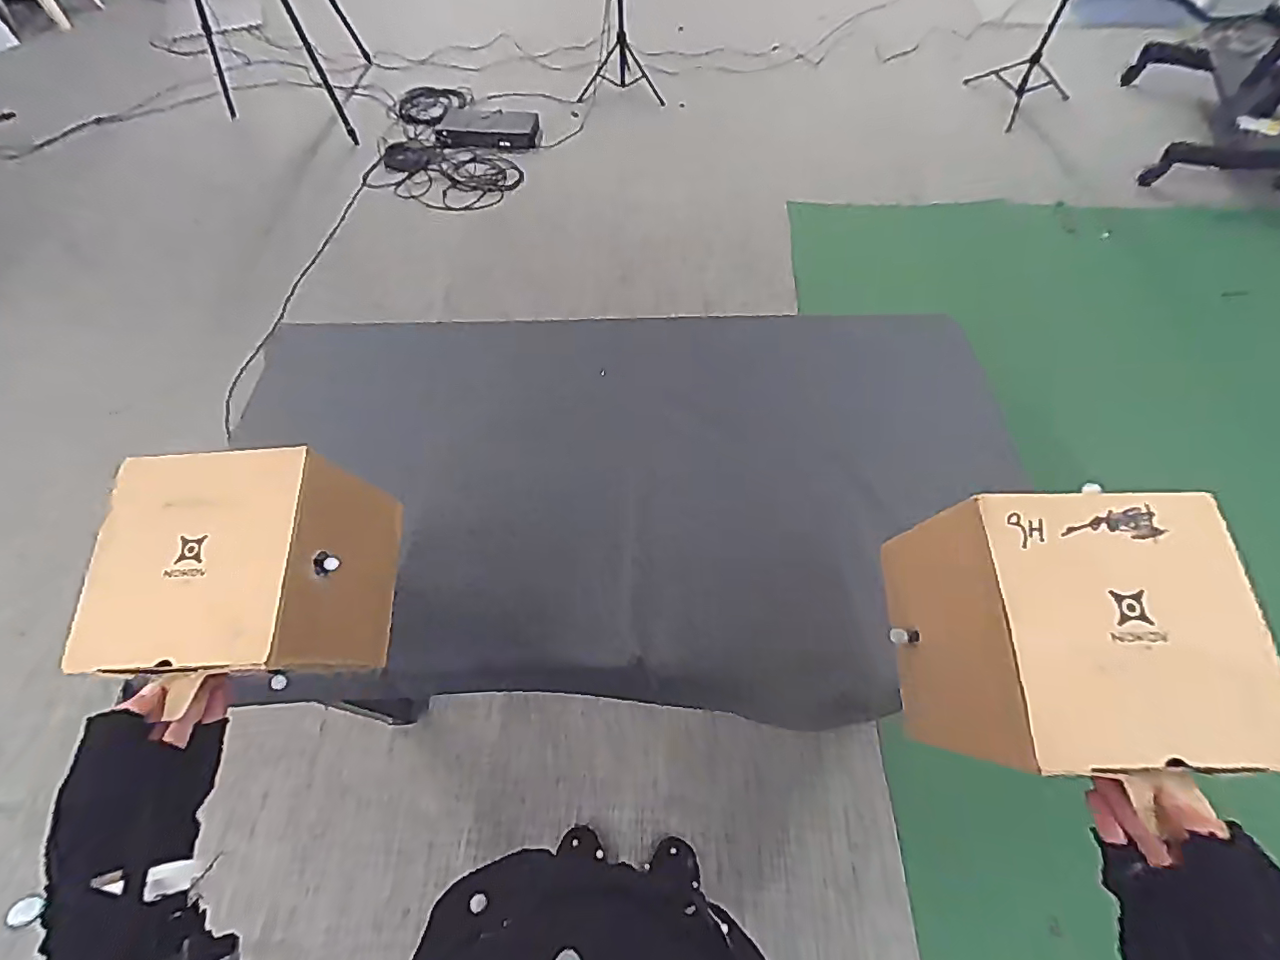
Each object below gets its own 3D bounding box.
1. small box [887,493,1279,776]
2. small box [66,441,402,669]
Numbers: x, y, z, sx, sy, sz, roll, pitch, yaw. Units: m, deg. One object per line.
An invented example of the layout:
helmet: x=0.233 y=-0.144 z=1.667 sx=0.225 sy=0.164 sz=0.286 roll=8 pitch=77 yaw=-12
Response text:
small box: x=0.316 y=0.116 z=0.422 sx=0.168 sy=0.176 sz=0.179 roll=0 pitch=72 yaw=0
small box: x=-0.343 y=0.079 z=0.499 sx=0.168 sy=0.176 sz=0.179 roll=-3 pitch=70 yaw=4
